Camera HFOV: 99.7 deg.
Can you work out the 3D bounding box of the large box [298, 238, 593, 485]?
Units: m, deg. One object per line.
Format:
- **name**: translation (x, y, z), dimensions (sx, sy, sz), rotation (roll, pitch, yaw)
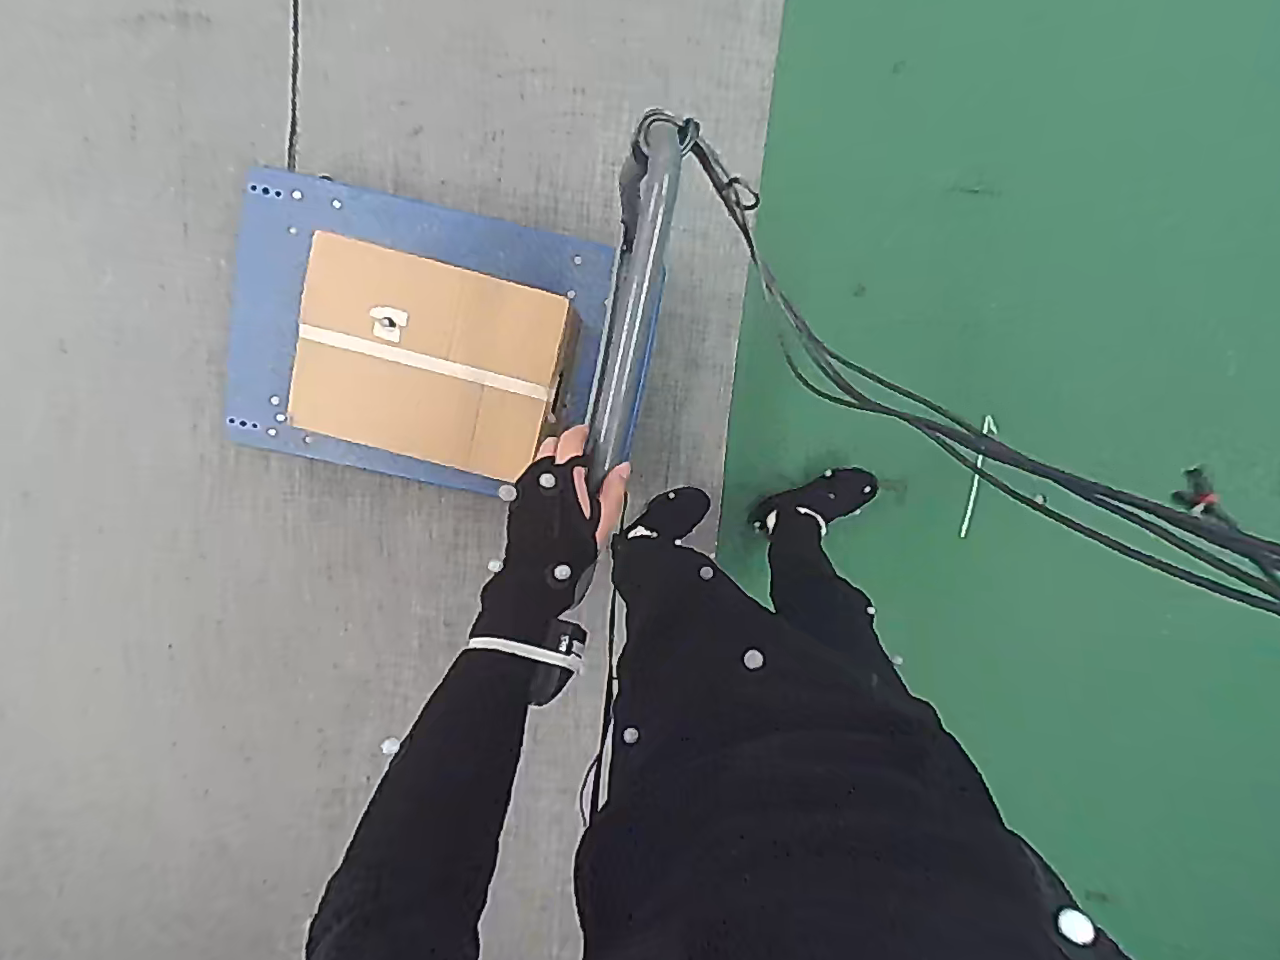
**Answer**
- **large box**: translation (-0.323, -0.205, 1.001), dimensions (0.408, 0.320, 0.320), rotation (14, 98, -2)
